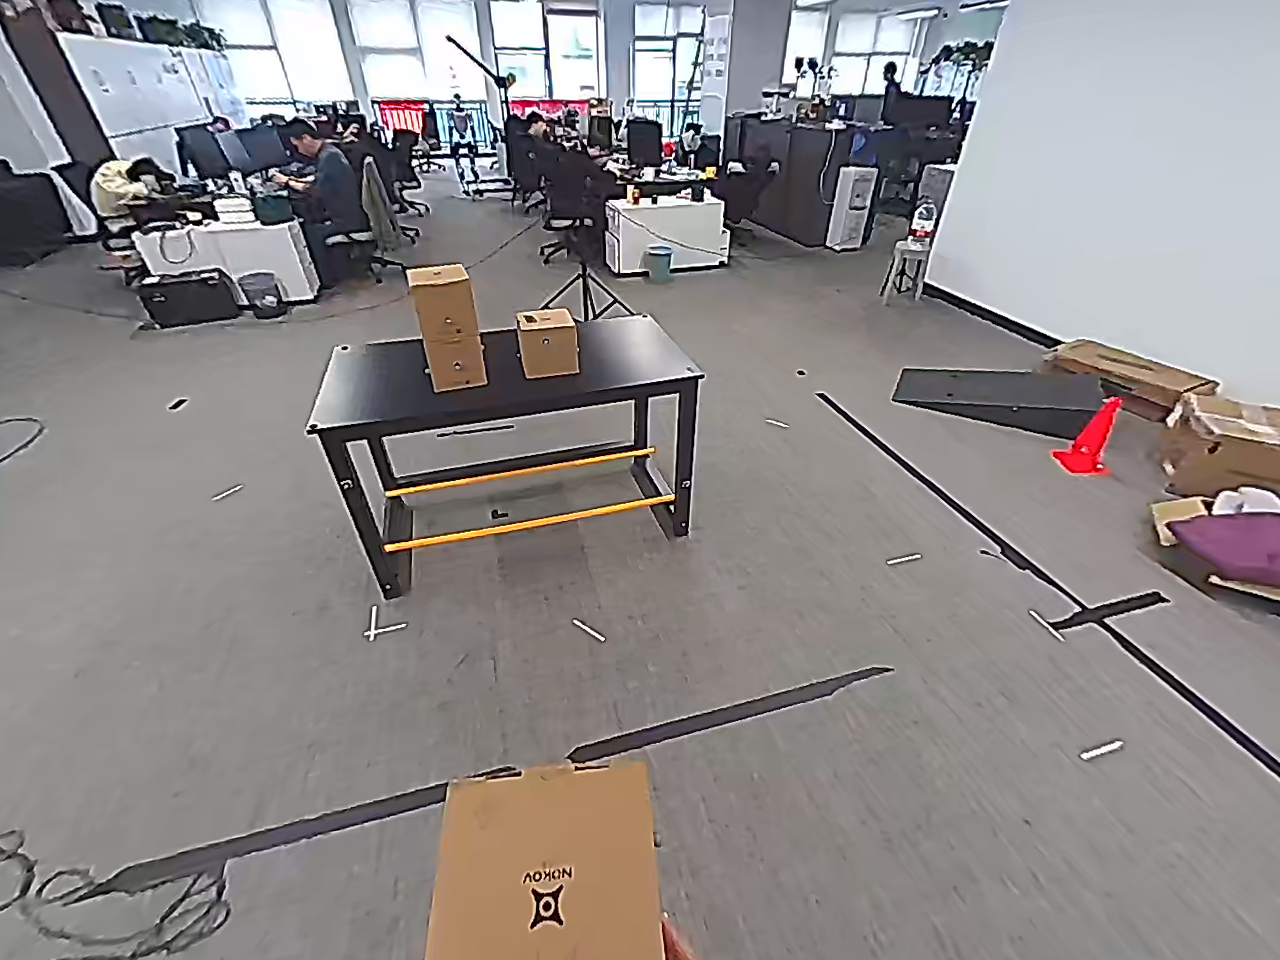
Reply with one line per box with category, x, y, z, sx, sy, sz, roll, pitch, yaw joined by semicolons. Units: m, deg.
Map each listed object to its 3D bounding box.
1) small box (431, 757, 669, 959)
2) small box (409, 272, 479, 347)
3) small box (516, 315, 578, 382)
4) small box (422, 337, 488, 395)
small box;-0.069;0.360;0.456;0.168;0.176;0.179;-3;46;-5
small box;-0.600;-0.523;1.656;0.168;0.176;0.179;-15;38;-18
small box;-0.313;-0.442;1.822;0.179;0.176;0.168;-10;37;-13
small box;-0.598;-0.387;1.751;0.168;0.176;0.179;-14;38;-17
